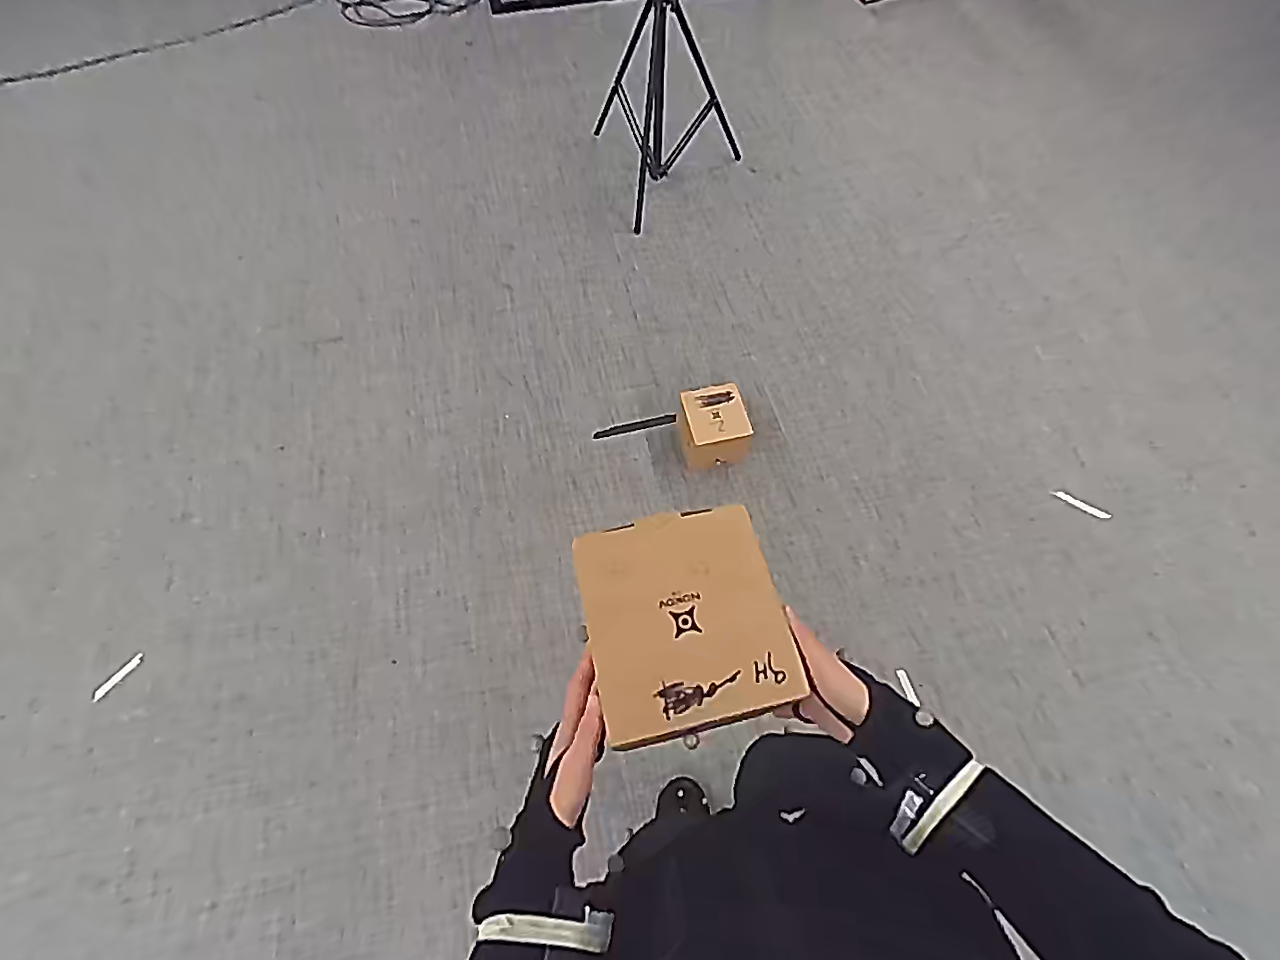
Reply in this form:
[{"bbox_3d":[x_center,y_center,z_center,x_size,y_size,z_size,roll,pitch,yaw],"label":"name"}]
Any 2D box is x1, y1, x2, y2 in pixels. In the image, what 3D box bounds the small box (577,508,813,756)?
[{"bbox_3d":[0.037,0.152,0.522,0.168,0.176,0.179,-11,63,-7],"label":"small box"}]
